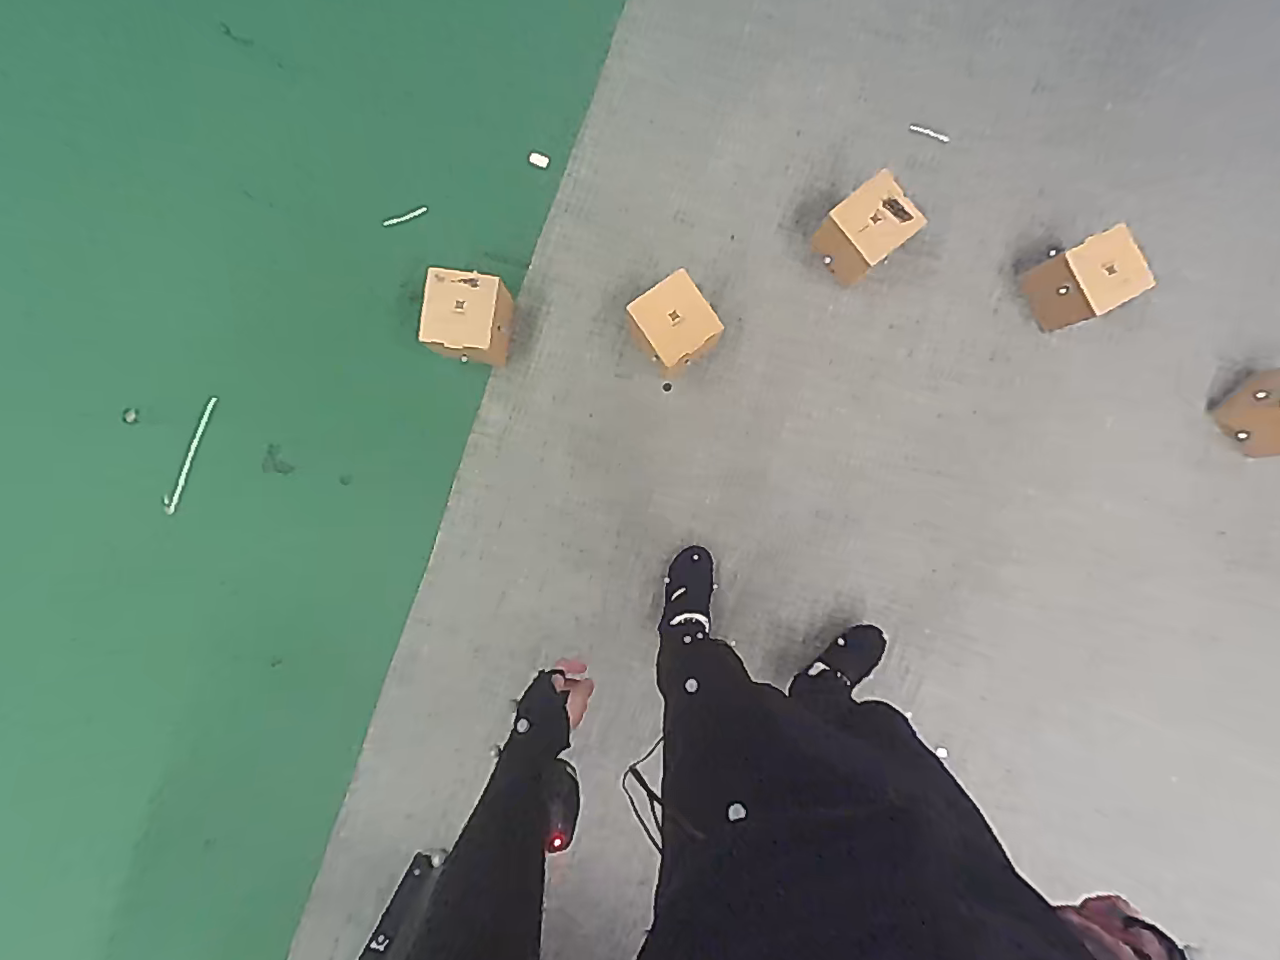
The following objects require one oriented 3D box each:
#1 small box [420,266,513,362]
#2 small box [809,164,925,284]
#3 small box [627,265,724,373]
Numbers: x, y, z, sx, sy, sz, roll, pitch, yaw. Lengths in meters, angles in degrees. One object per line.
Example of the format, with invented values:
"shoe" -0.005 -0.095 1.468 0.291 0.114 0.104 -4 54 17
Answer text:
"small box" -0.416 -0.397 1.325 0.168 0.176 0.179 8 90 -1
"small box" 0.555 -0.629 1.348 0.179 0.176 0.168 -39 90 0
"small box" 0.080 -0.388 1.338 0.168 0.176 0.179 -36 92 -1
